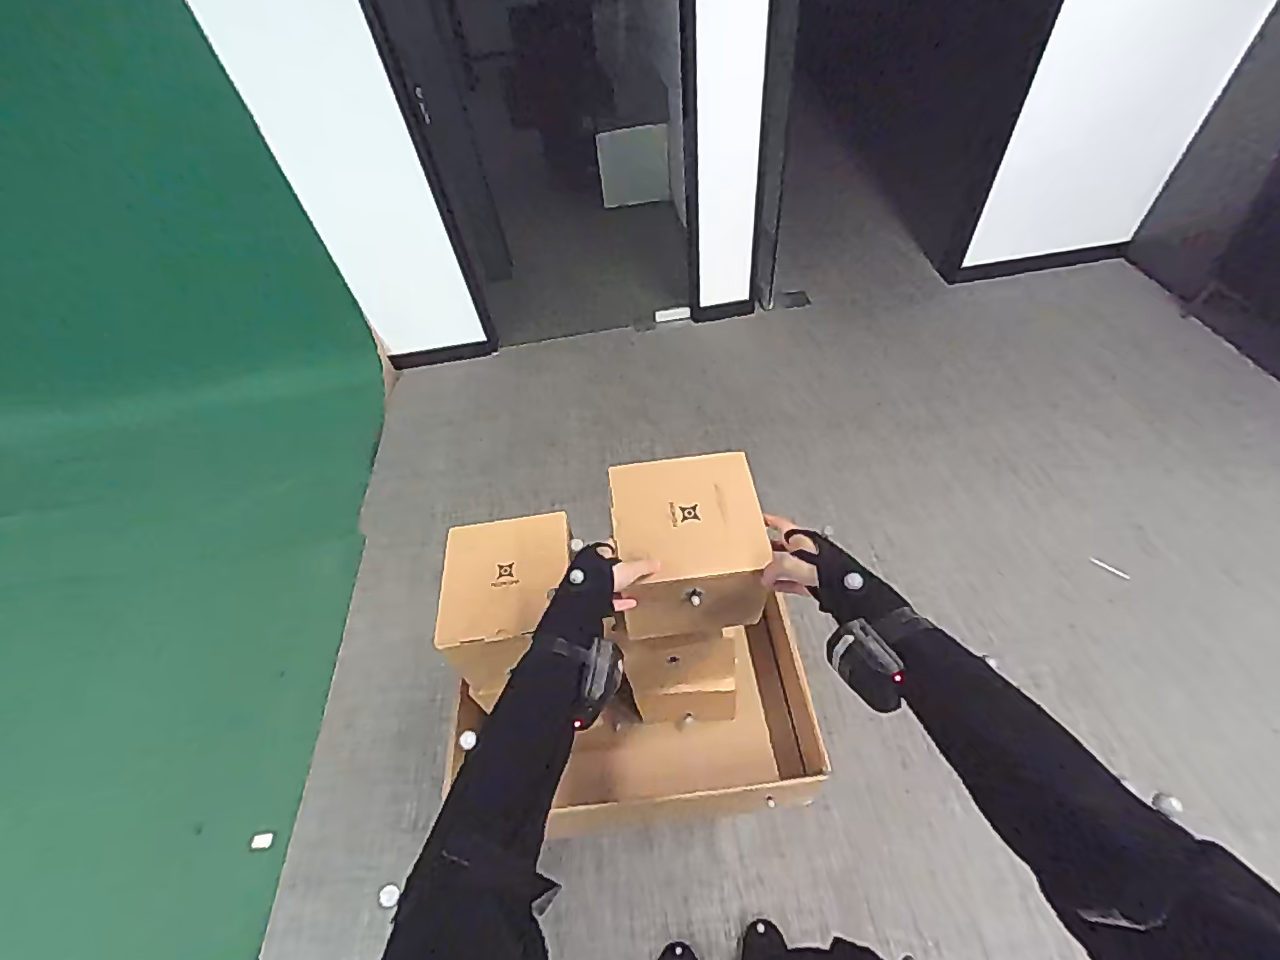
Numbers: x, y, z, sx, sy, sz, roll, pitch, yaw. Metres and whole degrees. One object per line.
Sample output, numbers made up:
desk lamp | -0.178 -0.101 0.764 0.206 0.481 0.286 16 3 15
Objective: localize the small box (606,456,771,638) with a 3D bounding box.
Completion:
small box | 0.056 0.091 0.694 0.179 0.176 0.168 -6 53 -1
